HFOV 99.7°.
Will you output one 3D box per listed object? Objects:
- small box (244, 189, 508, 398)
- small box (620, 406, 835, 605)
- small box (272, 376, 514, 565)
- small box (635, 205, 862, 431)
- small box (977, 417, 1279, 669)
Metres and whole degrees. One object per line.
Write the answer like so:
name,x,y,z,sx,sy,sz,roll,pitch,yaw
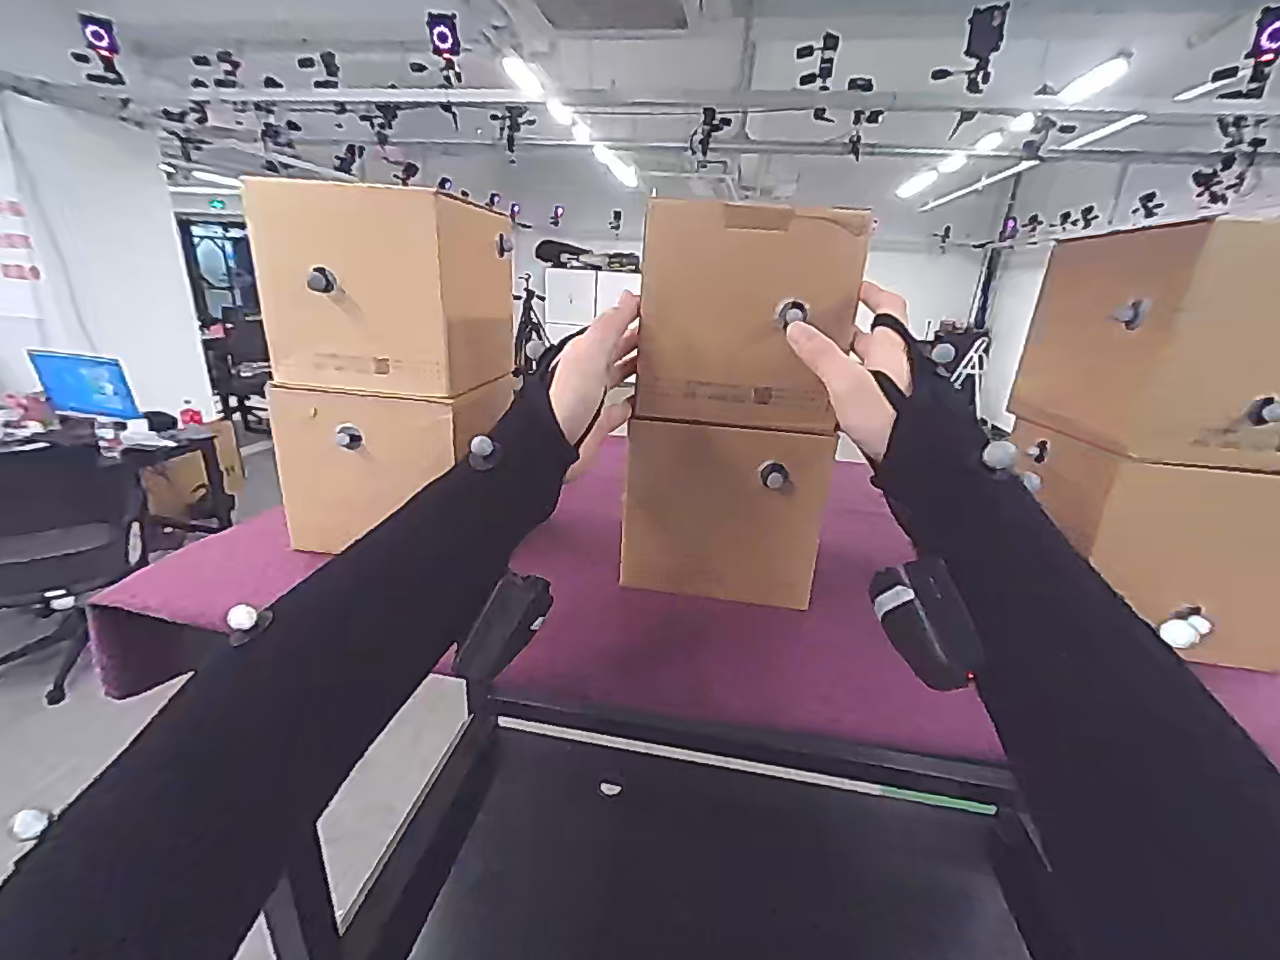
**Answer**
small box,-0.234,-0.178,0.534,0.168,0.176,0.179,5,19,5
small box,0.082,0.008,0.548,0.179,0.176,0.168,6,20,8
small box,-0.246,-0.023,0.582,0.179,0.176,0.168,6,20,5
small box,0.089,-0.147,0.499,0.168,0.176,0.179,6,20,7
small box,0.450,0.047,0.494,0.179,0.176,0.168,6,18,7
